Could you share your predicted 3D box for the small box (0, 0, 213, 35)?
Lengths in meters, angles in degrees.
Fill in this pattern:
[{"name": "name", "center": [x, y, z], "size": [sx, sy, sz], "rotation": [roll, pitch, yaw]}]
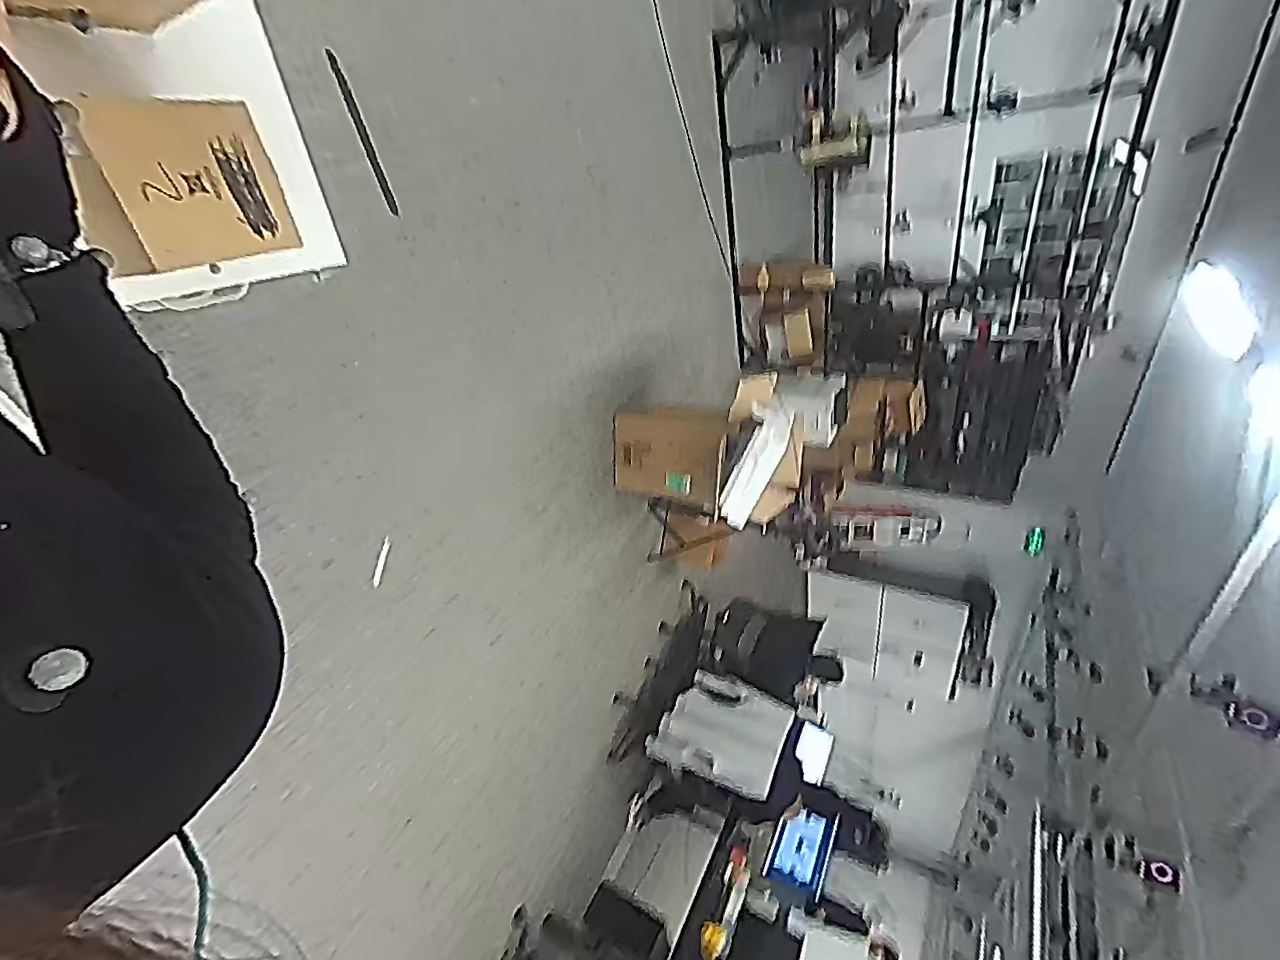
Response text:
[{"name": "small box", "center": [-0.600, -0.582, 0.549], "size": [0.179, 0.176, 0.168], "rotation": [-43, 133, -48]}]
